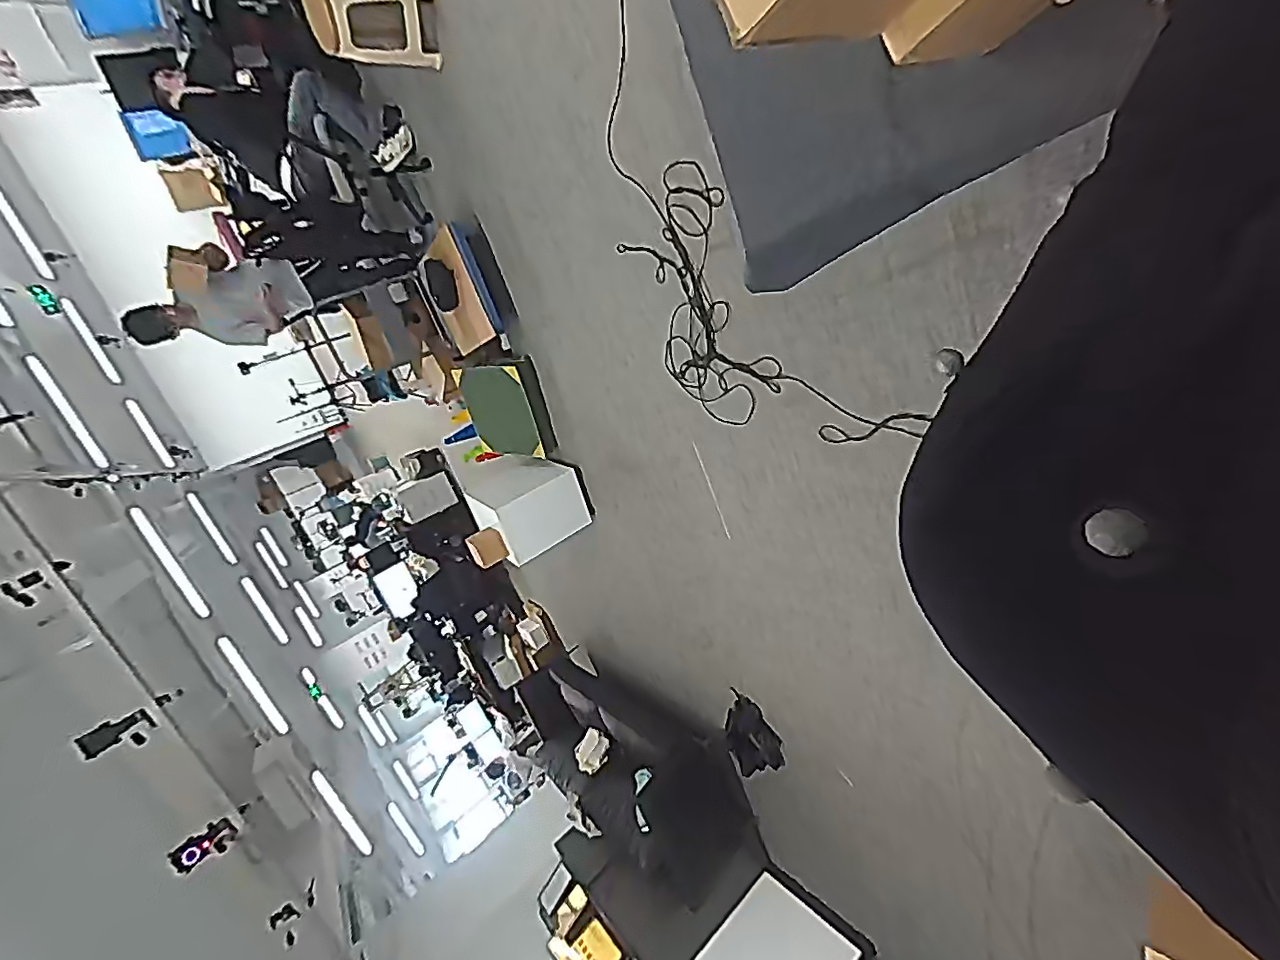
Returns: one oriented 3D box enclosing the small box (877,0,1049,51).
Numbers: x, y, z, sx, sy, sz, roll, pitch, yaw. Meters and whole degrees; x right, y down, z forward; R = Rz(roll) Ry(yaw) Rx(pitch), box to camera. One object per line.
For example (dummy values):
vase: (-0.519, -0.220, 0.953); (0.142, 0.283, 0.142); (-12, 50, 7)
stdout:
small box: (0.259, -0.447, 0.376); (0.168, 0.176, 0.179); (-15, 104, 60)

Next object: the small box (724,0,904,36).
small box: (0.132, -0.388, 0.288); (0.179, 0.176, 0.168); (-9, 111, 59)
